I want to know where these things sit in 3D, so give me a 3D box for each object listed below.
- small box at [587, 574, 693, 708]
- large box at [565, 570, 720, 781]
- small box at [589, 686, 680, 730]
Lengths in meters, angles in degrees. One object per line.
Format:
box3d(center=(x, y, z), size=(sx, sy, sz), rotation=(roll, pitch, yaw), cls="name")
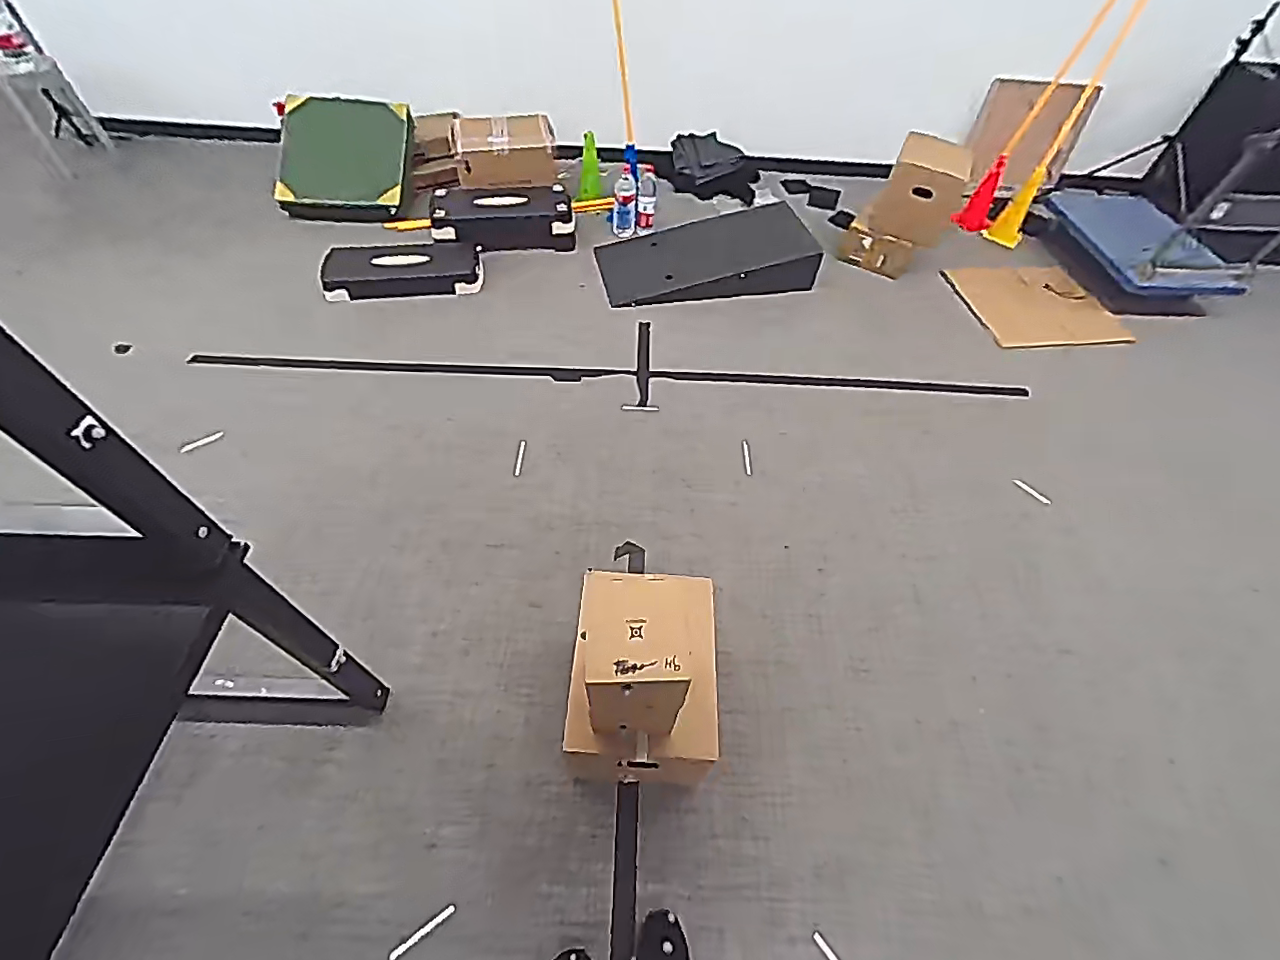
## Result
box3d(center=(-0.003, 0.280, 0.936), size=(0.168, 0.176, 0.179), rotation=(-1, 52, -2), cls="small box")
box3d(center=(0.004, 0.473, 1.303), size=(0.320, 0.320, 0.408), rotation=(5, 52, -1), cls="large box")
box3d(center=(-0.009, 0.378, 1.067), size=(0.168, 0.176, 0.179), rotation=(2, 53, 0), cls="small box")
